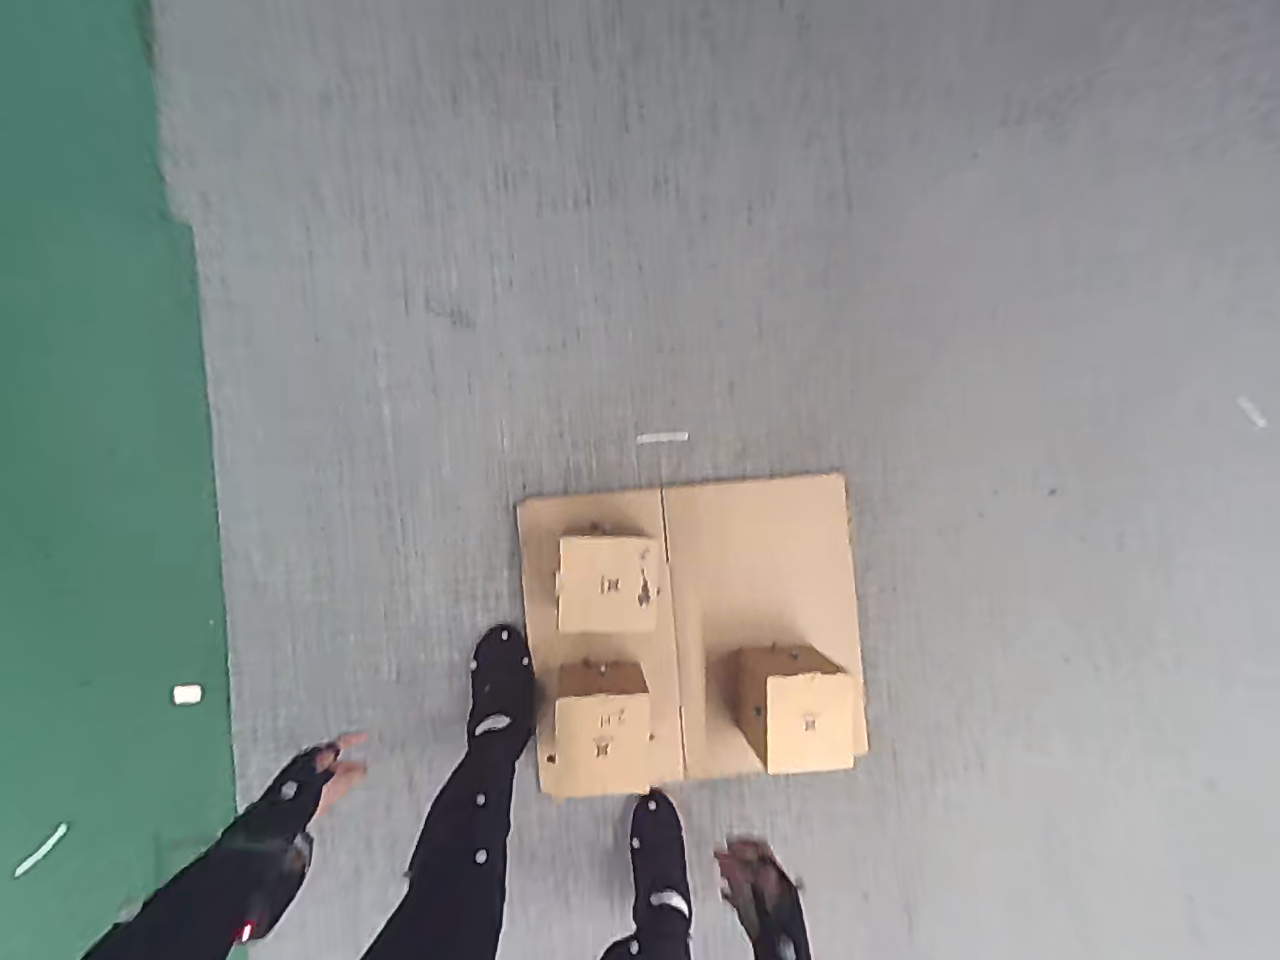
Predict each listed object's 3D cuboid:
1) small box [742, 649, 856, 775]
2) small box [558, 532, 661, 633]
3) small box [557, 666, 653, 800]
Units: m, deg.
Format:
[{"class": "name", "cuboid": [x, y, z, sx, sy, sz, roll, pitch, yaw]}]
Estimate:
[{"class": "small box", "cuboid": [0.301, 0.442, 1.050, 0.168, 0.176, 0.179, 0, 88, -7]}, {"class": "small box", "cuboid": [-0.059, 0.186, 1.019, 0.179, 0.176, 0.168, 2, 88, -6]}, {"class": "small box", "cuboid": [-0.068, 0.464, 1.012, 0.168, 0.176, 0.179, 1, 88, -7]}]
